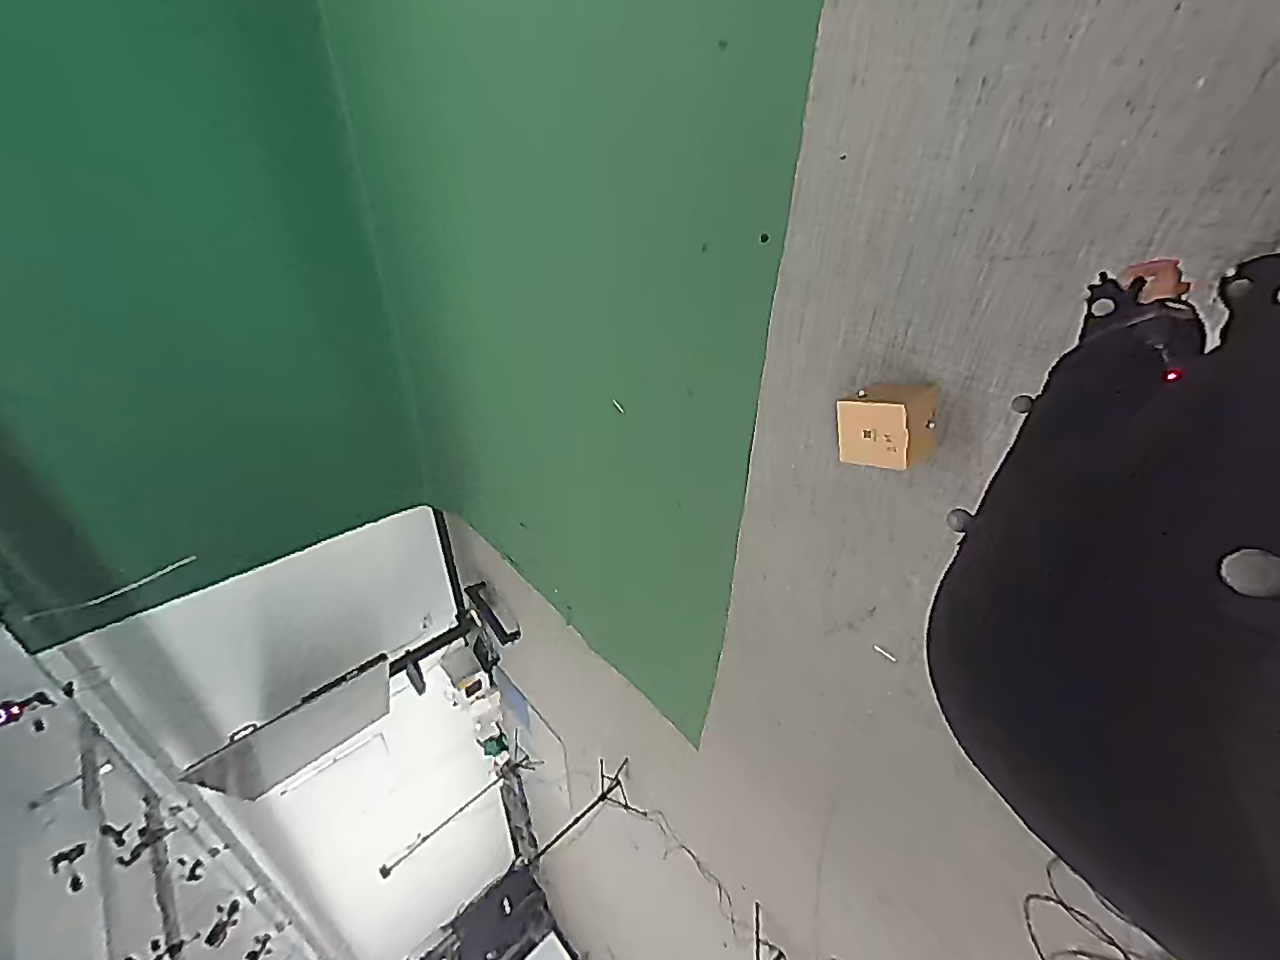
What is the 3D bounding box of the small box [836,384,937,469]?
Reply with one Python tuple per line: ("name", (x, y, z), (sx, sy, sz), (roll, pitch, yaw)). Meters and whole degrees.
("small box", (0.621, -0.142, 1.364), (0.179, 0.176, 0.168), (13, 121, 48))
